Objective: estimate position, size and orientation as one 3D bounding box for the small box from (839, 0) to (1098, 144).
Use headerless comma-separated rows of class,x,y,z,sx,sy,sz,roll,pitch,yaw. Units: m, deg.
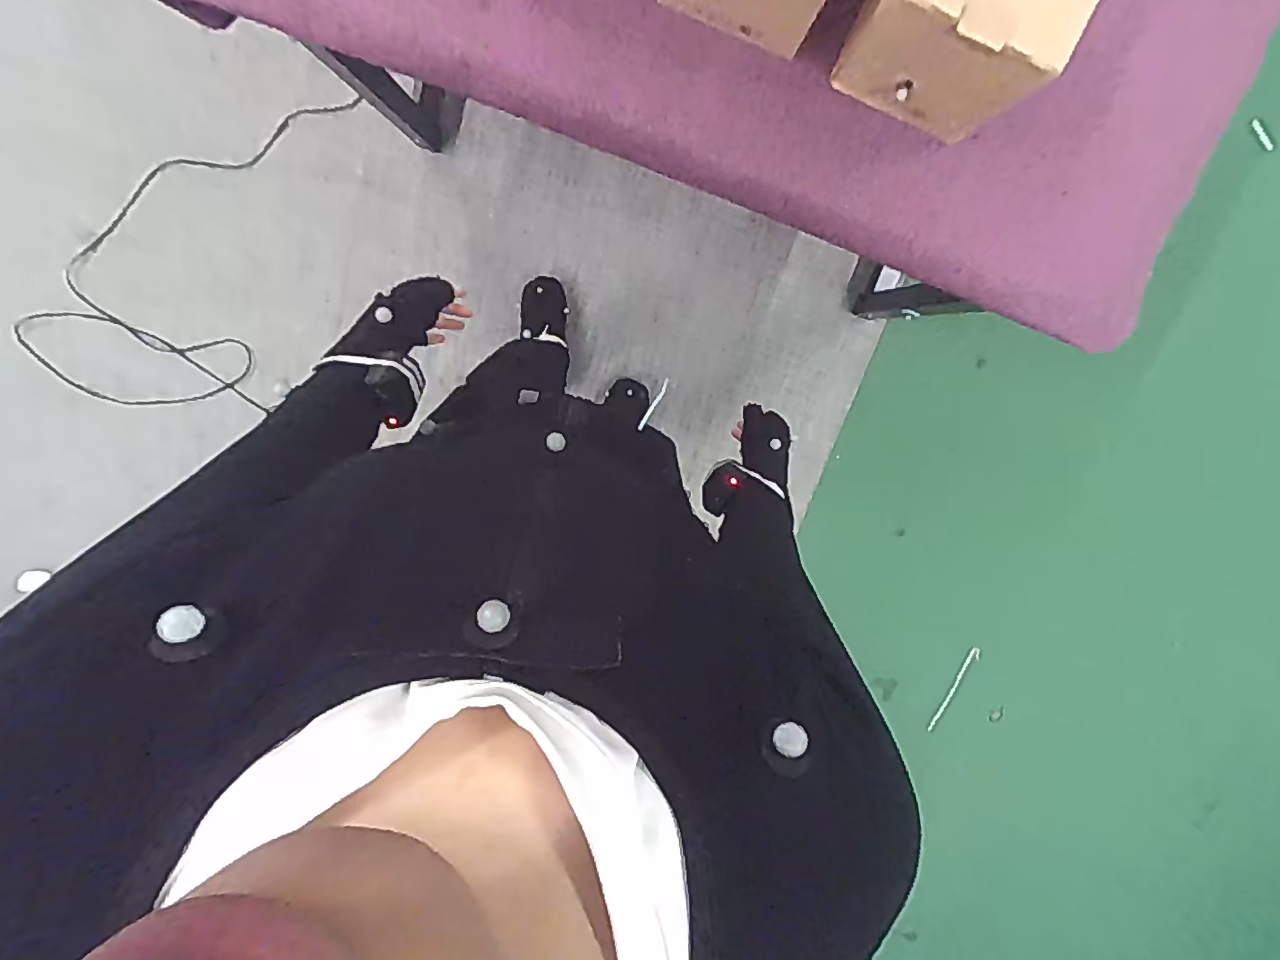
small box,0.328,-0.482,0.538,0.168,0.176,0.179,21,103,-6
